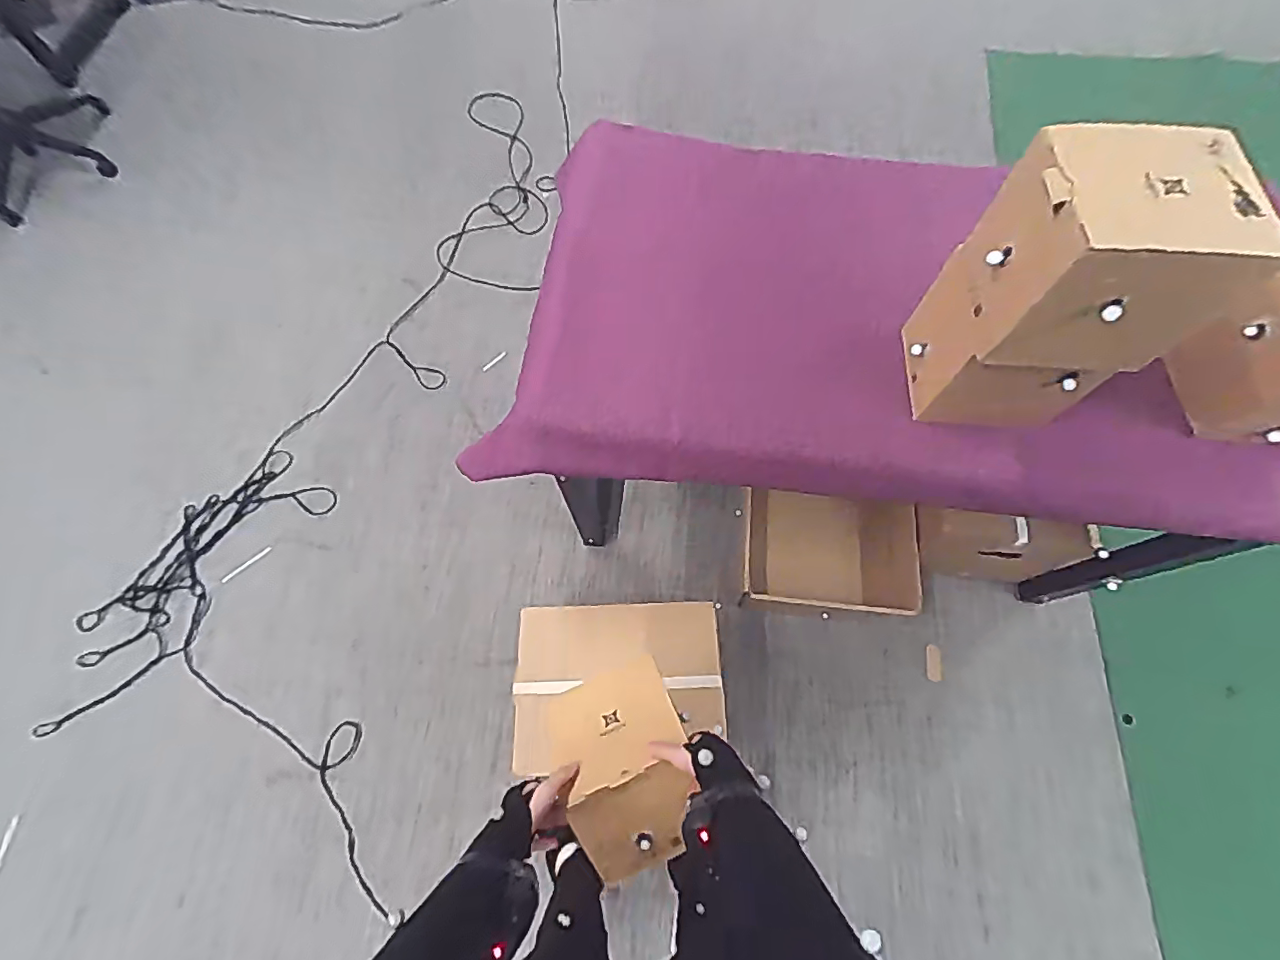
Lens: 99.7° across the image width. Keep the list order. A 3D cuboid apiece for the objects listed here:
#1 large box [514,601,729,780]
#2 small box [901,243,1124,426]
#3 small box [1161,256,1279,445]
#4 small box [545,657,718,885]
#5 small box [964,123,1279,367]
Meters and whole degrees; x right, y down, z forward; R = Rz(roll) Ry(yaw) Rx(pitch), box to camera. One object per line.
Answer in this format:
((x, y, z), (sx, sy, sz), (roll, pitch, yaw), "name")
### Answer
((-0.040, 0.457, 1.182), (0.408, 0.320, 0.320), (-2, 67, 0), "large box")
((0.475, -0.184, 0.716), (0.179, 0.176, 0.168), (4, 66, 4), "small box")
((0.840, -0.160, 0.696), (0.168, 0.176, 0.179), (2, 66, 4), "small box")
((-0.015, 0.380, 0.722), (0.168, 0.176, 0.179), (-22, 25, -7), "small box")
((0.464, -0.233, 0.559), (0.179, 0.176, 0.168), (3, 67, 3), "small box")
